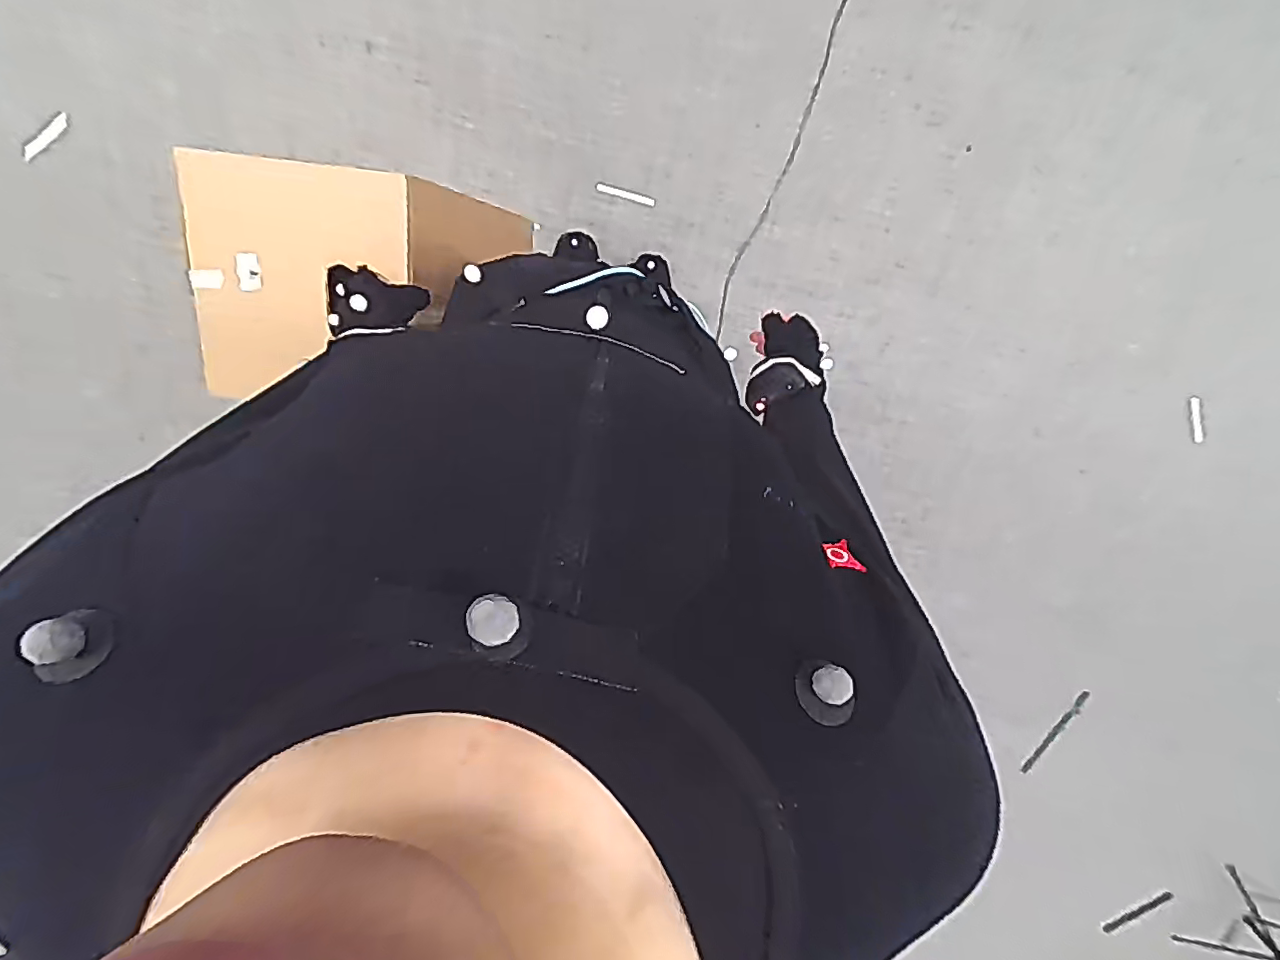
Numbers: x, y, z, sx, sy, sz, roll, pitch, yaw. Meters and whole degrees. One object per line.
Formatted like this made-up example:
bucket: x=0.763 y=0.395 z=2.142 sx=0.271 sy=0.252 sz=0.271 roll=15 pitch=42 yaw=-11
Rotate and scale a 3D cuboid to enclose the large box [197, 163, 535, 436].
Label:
large box: x=-0.397 y=-0.293 z=0.887 sx=0.320 sy=0.408 sz=0.320 roll=13 pitch=110 yaw=6
